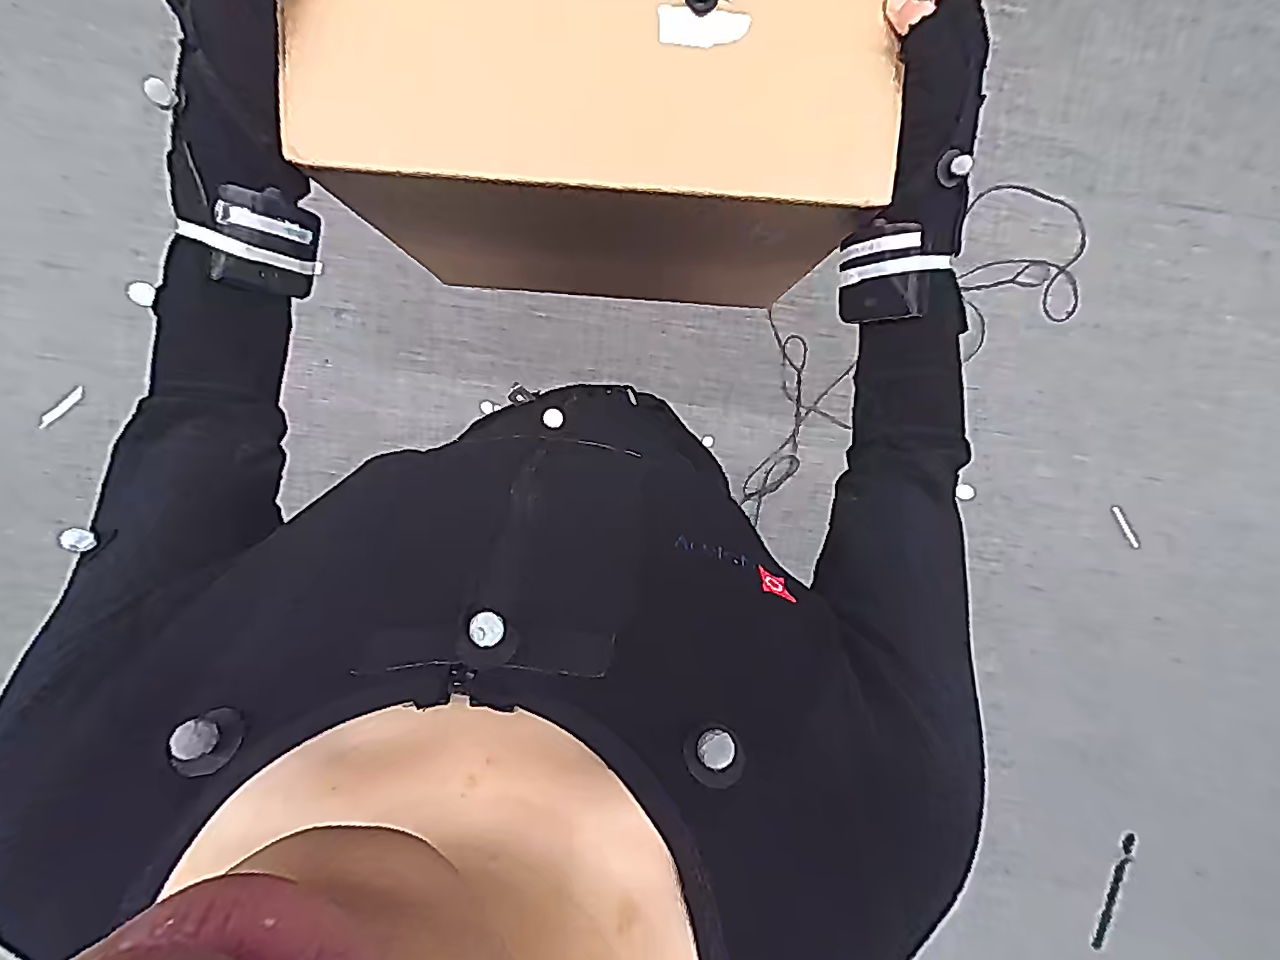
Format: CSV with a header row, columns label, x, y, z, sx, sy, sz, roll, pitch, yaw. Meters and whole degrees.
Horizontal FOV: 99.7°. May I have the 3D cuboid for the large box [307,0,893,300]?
label,x,y,z,sx,sy,sz,roll,pitch,yaw
large box,-0.027,-0.371,0.512,0.408,0.320,0.320,3,95,-2
